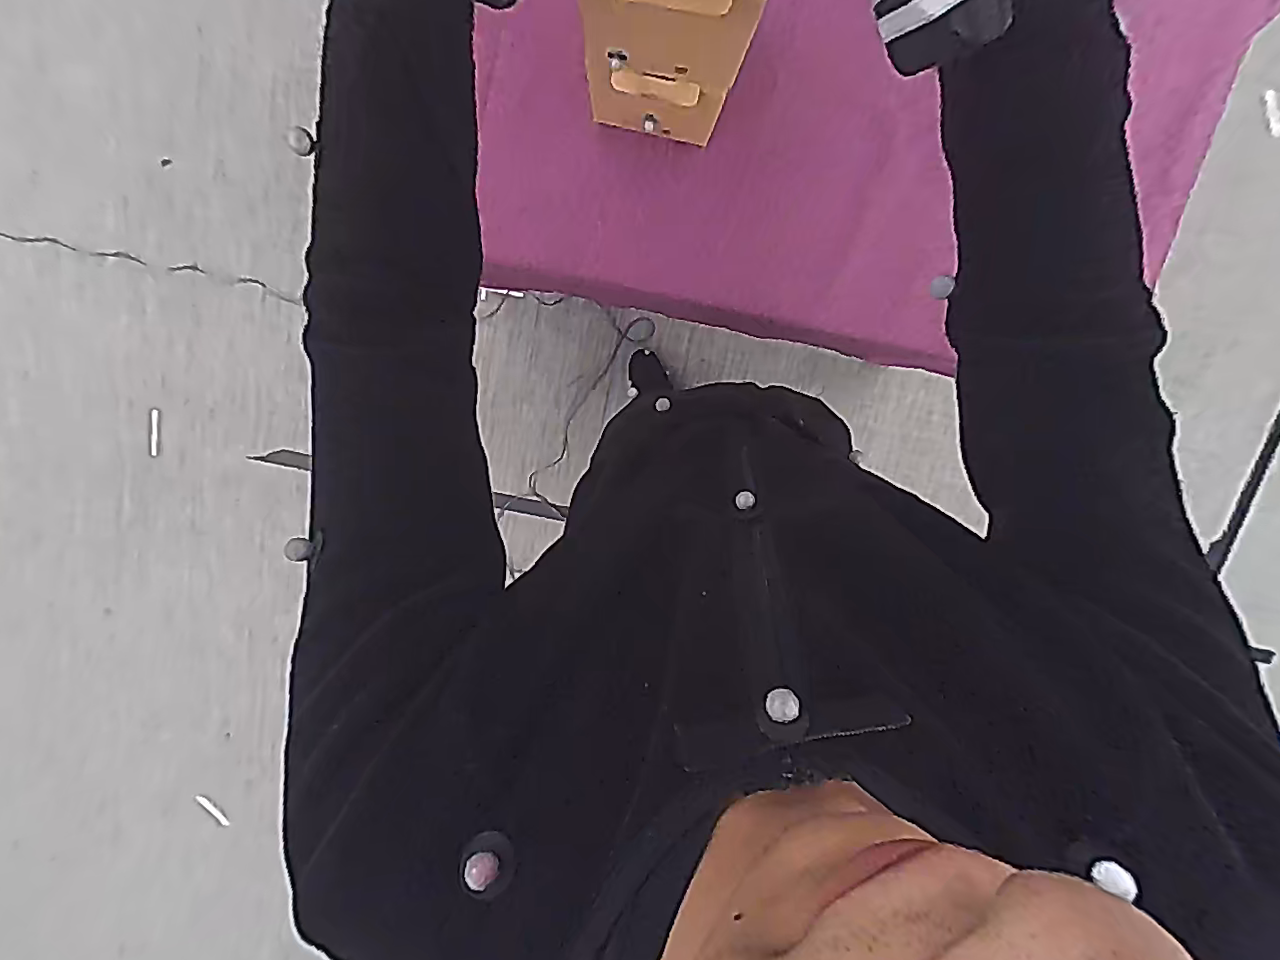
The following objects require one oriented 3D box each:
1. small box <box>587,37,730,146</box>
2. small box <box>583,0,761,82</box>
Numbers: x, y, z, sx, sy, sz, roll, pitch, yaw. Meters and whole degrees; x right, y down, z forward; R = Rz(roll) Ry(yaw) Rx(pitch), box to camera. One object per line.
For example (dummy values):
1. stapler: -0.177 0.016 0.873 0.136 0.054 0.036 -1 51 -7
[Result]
1. small box: 0.033 -0.555 0.672 0.168 0.176 0.179 10 103 -4
2. small box: 0.037 -0.519 0.511 0.168 0.176 0.179 6 102 -4
